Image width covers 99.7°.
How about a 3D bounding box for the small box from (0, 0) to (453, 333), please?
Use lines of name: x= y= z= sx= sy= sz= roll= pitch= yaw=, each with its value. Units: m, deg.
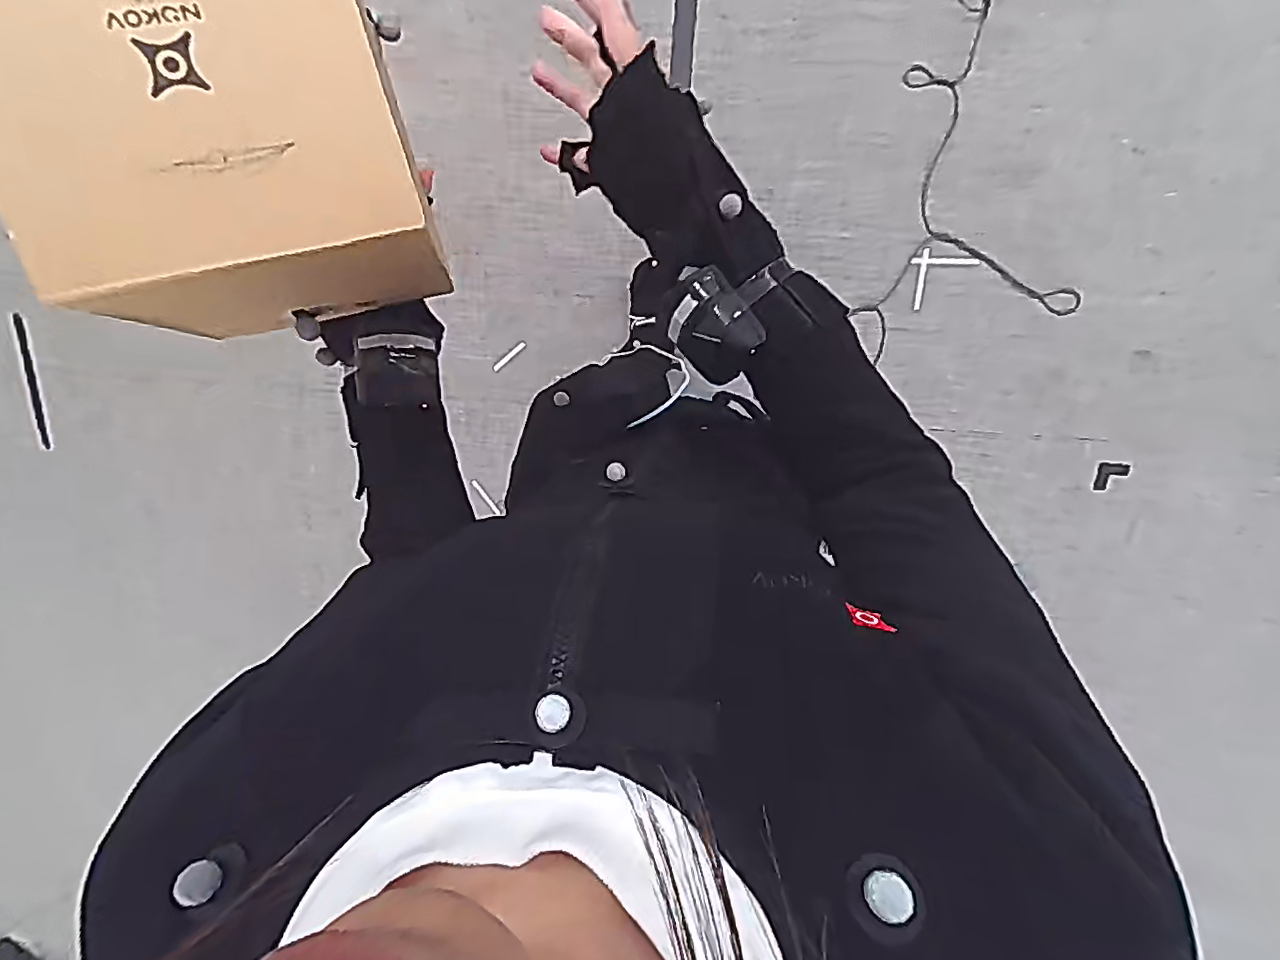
small box: x=-0.222 y=-0.200 z=0.321 sx=0.168 sy=0.176 sz=0.179 roll=-17 pitch=102 yaw=-11
